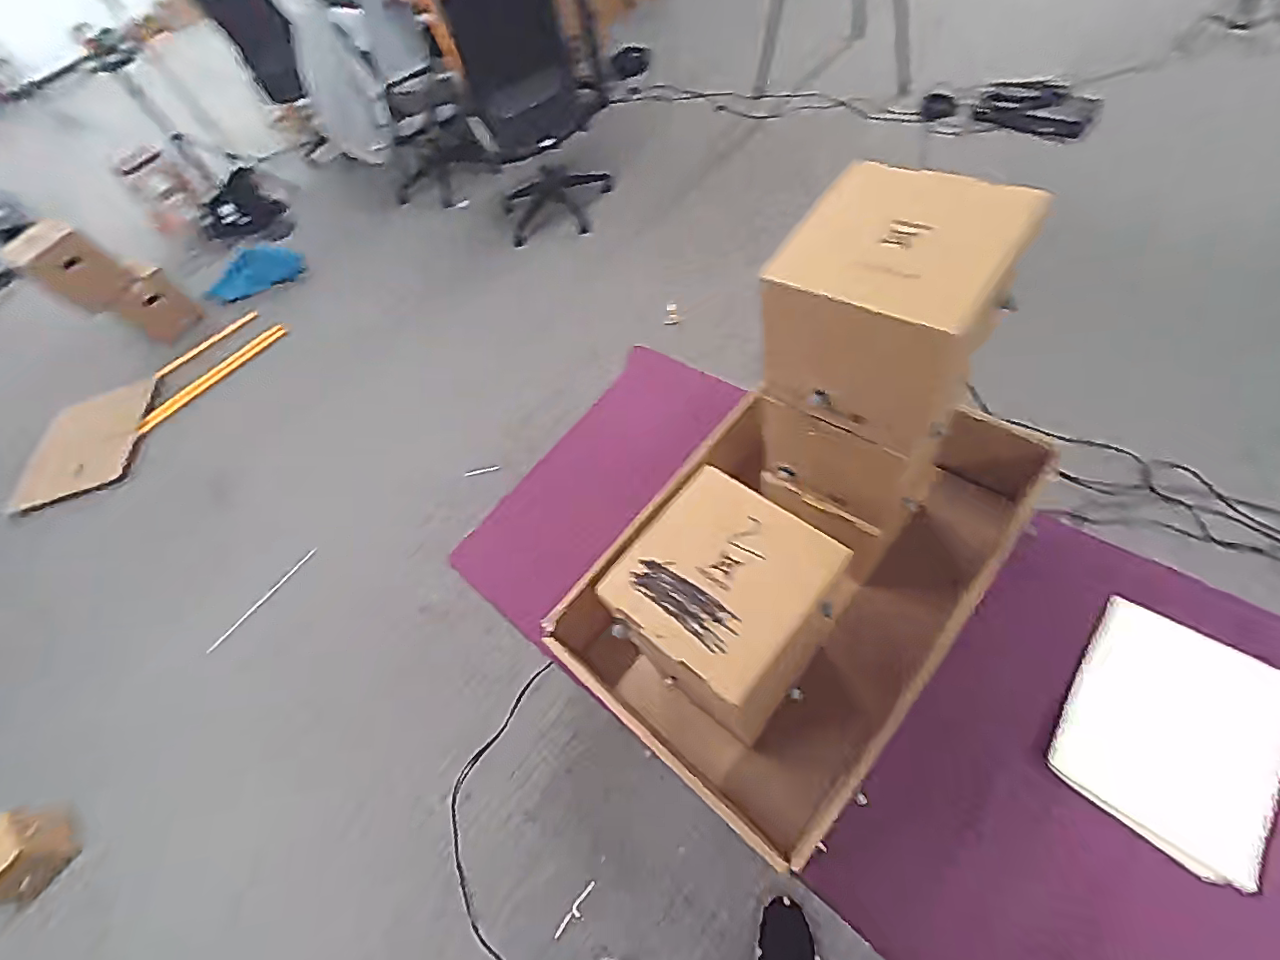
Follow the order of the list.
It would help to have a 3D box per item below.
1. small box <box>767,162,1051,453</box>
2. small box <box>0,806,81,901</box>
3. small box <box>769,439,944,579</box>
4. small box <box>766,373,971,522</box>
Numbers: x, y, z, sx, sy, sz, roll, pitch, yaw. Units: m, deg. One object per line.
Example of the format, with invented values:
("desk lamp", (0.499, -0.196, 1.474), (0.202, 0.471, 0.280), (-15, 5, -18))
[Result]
("small box", (0.236, -0.160, 0.516), (0.168, 0.176, 0.179), (31, 72, 29))
("small box", (-1.805, 1.088, 1.578), (0.179, 0.176, 0.168), (28, 67, 28))
("small box", (0.302, 0.011, 0.787), (0.168, 0.176, 0.179), (31, 72, 28))
("small box", (0.271, -0.079, 0.652), (0.168, 0.176, 0.179), (31, 70, 28))
